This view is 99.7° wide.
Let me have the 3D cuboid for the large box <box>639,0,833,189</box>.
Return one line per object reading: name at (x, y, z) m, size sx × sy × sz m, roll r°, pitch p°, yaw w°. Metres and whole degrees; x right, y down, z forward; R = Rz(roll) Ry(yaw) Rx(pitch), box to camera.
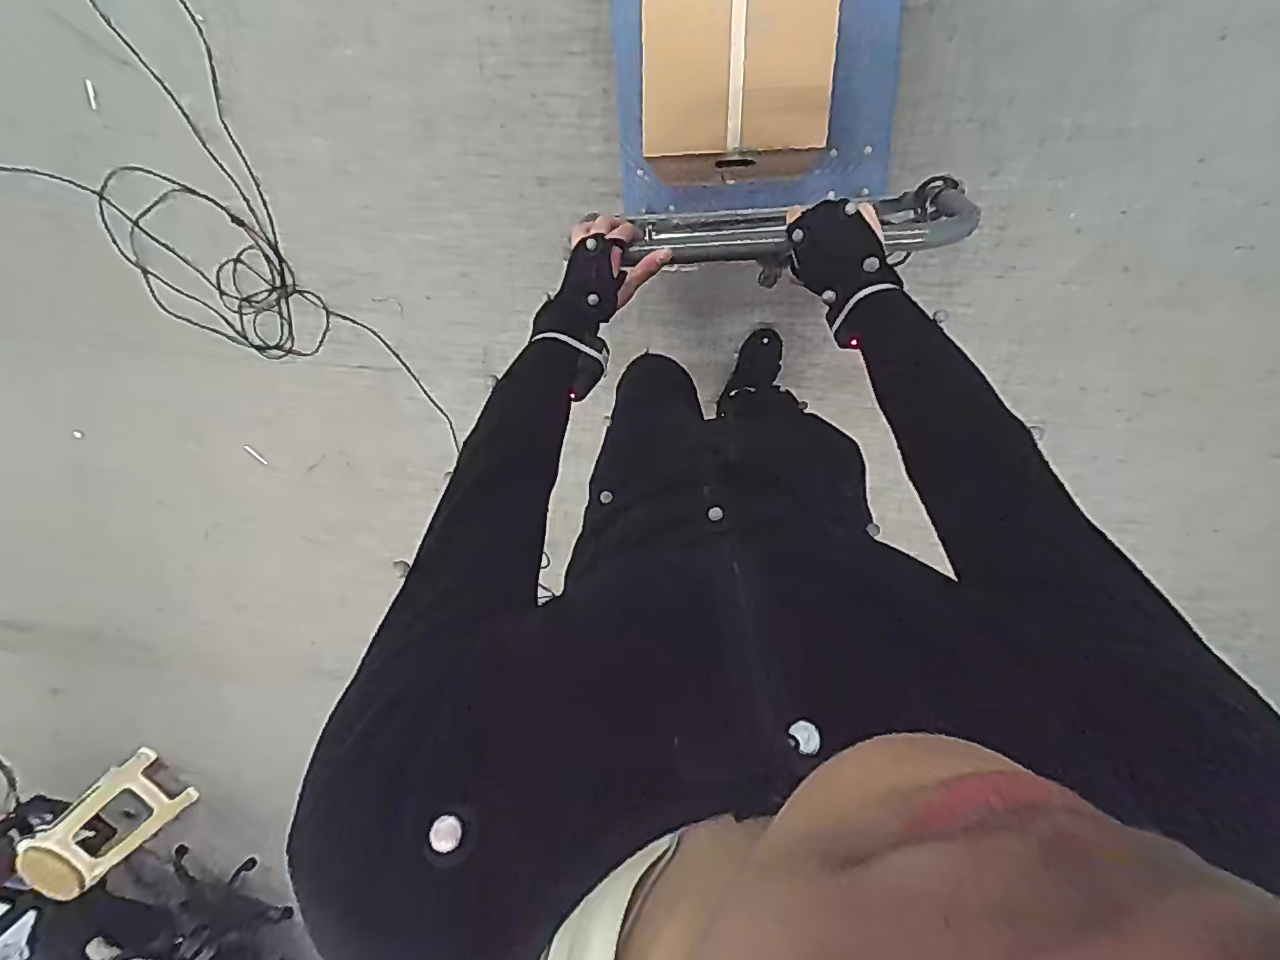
large box at (0.178, -0.798, 1.007) m, size 0.320 × 0.320 × 0.408 m, roll 3°, pitch 110°, yaw 9°
